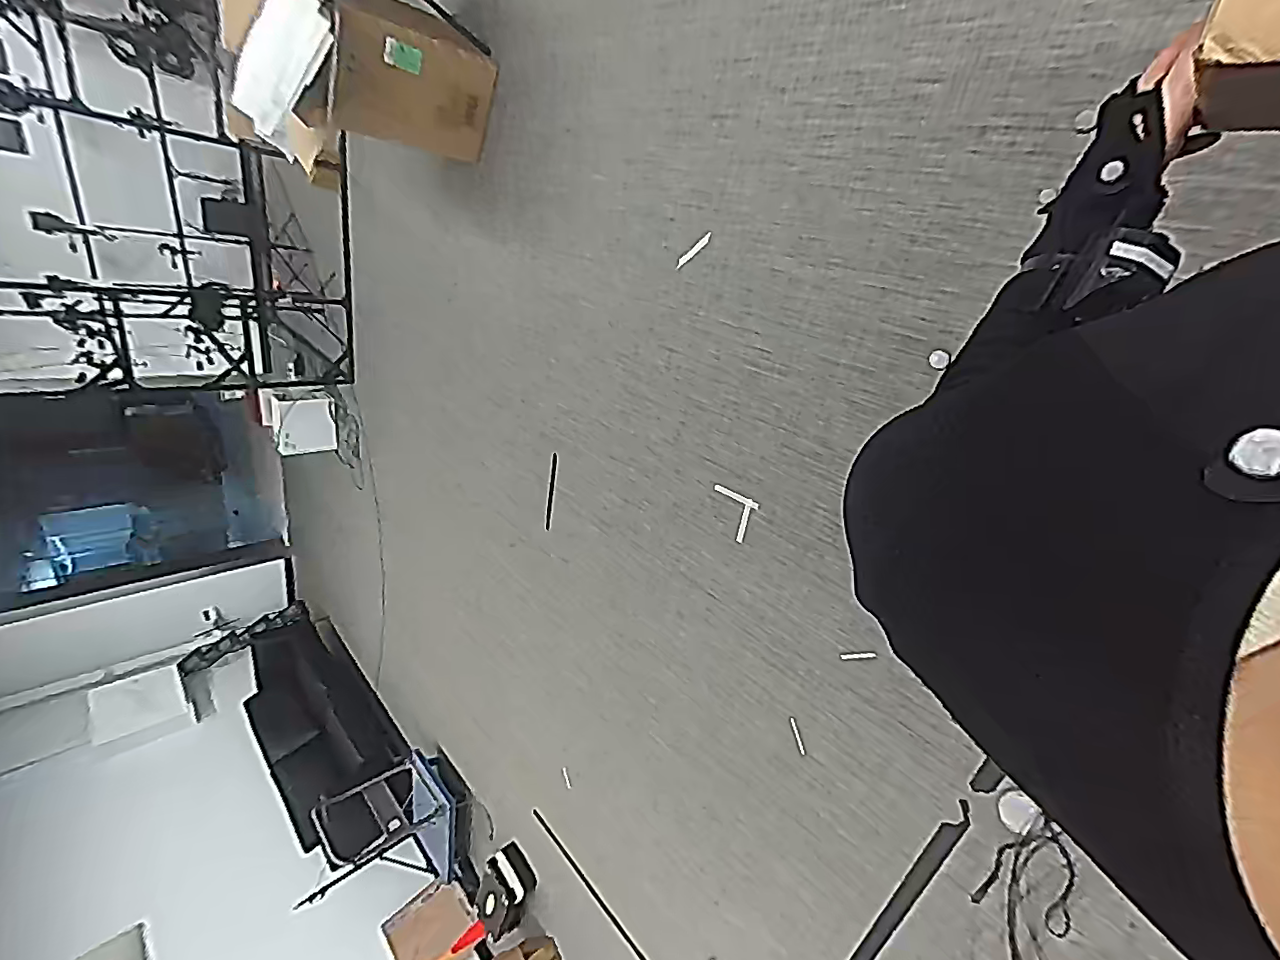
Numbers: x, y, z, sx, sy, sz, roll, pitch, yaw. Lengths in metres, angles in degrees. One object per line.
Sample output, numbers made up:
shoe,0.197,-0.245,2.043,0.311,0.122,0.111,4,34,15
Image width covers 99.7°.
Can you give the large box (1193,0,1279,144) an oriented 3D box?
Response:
large box,0.481,-0.291,0.143,0.408,0.320,0.320,24,126,36
